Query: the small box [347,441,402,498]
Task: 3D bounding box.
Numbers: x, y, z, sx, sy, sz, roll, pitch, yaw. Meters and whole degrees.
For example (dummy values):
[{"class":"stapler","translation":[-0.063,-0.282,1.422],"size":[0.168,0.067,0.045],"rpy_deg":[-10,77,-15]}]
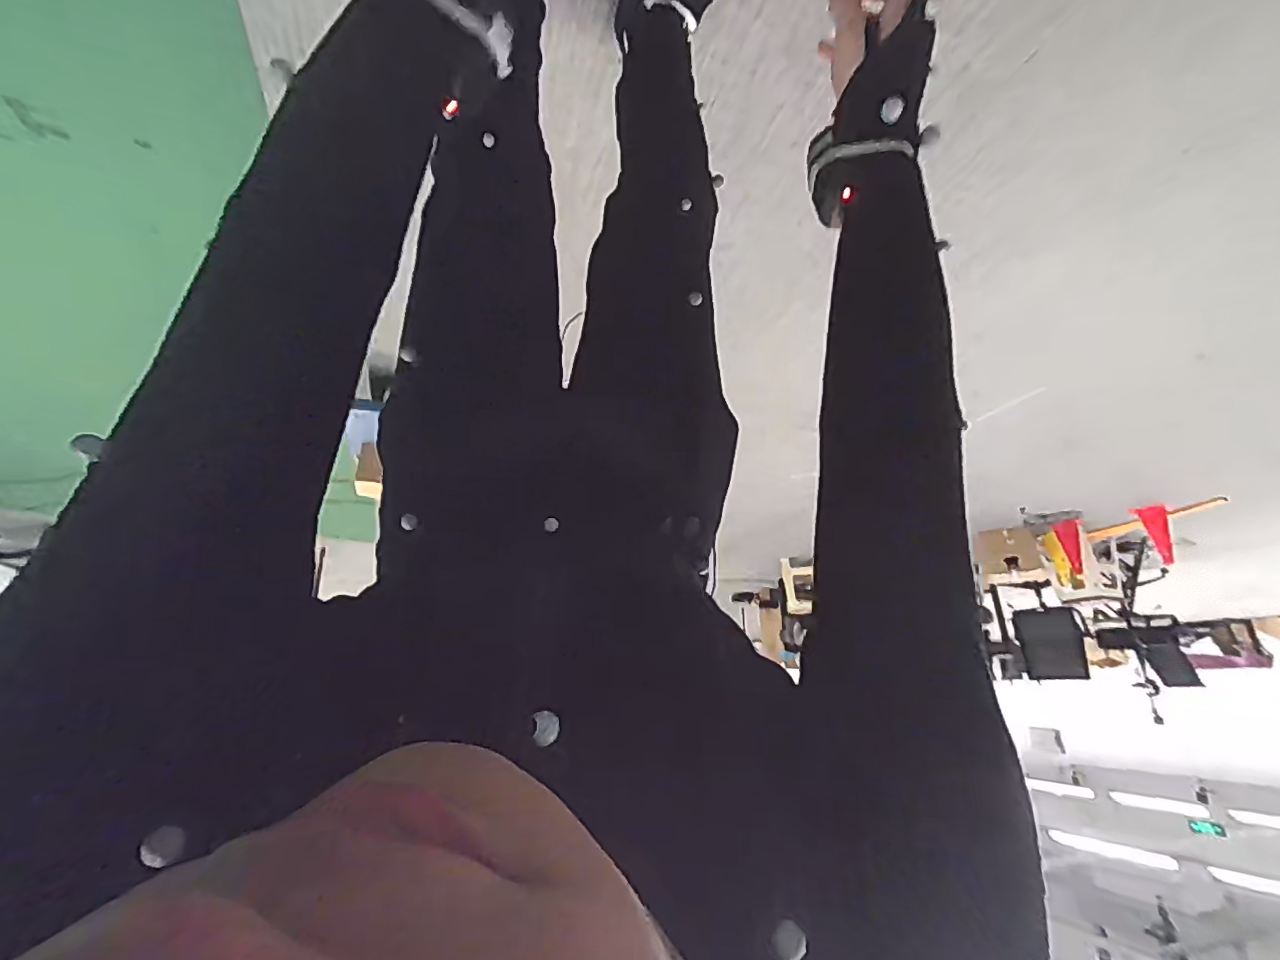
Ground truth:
[{"class":"small box","translation":[-1.047,-0.041,2.140],"size":[0.179,0.176,0.168],"rpy_deg":[9,156,-22]}]
